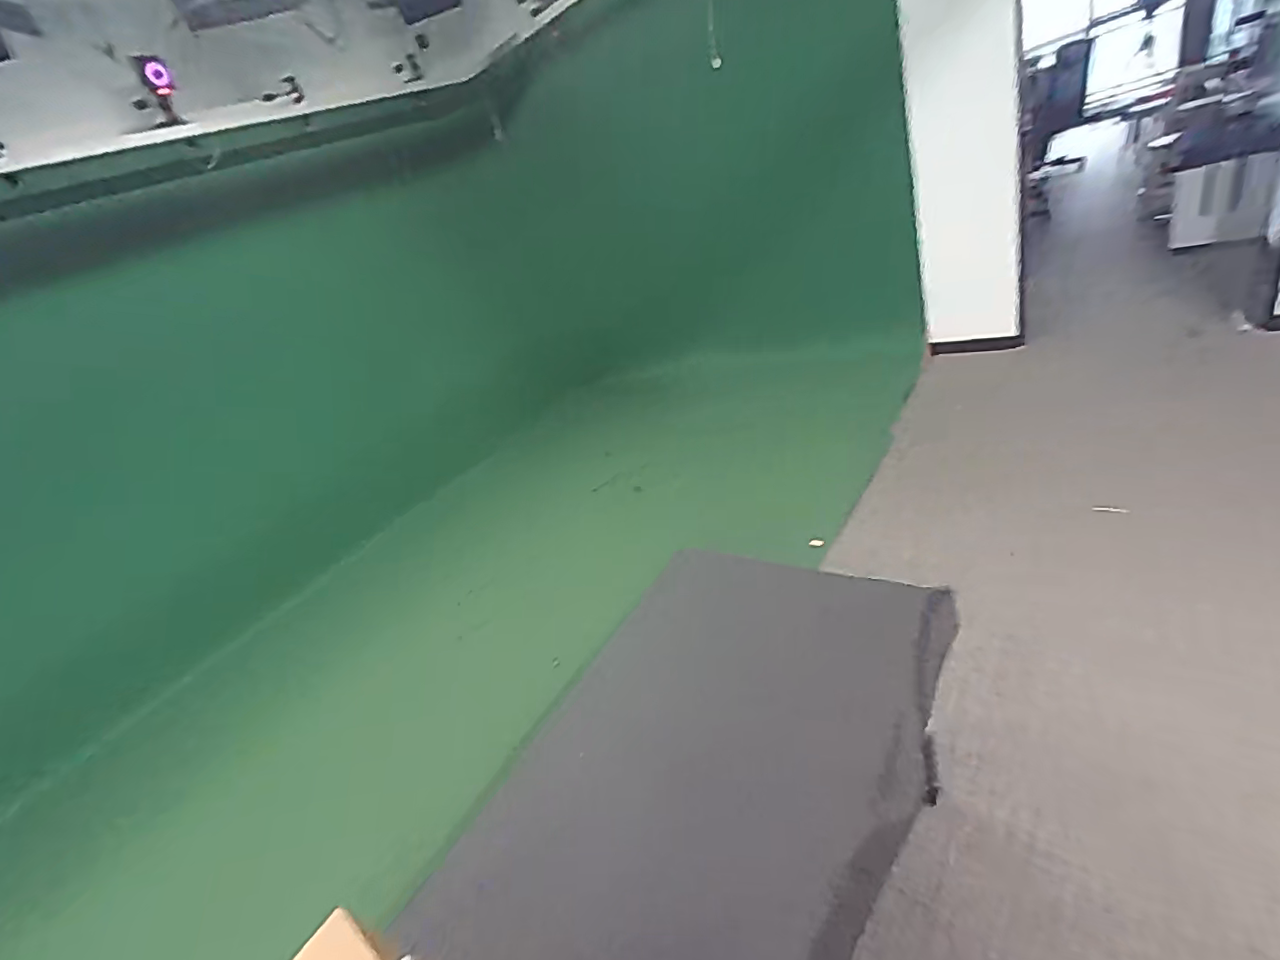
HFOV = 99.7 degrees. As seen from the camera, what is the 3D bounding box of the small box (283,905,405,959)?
[{"bbox_3d":[-0.294,0.586,0.534,0.179,0.176,0.168,4,36,40],"label":"small box"}]
